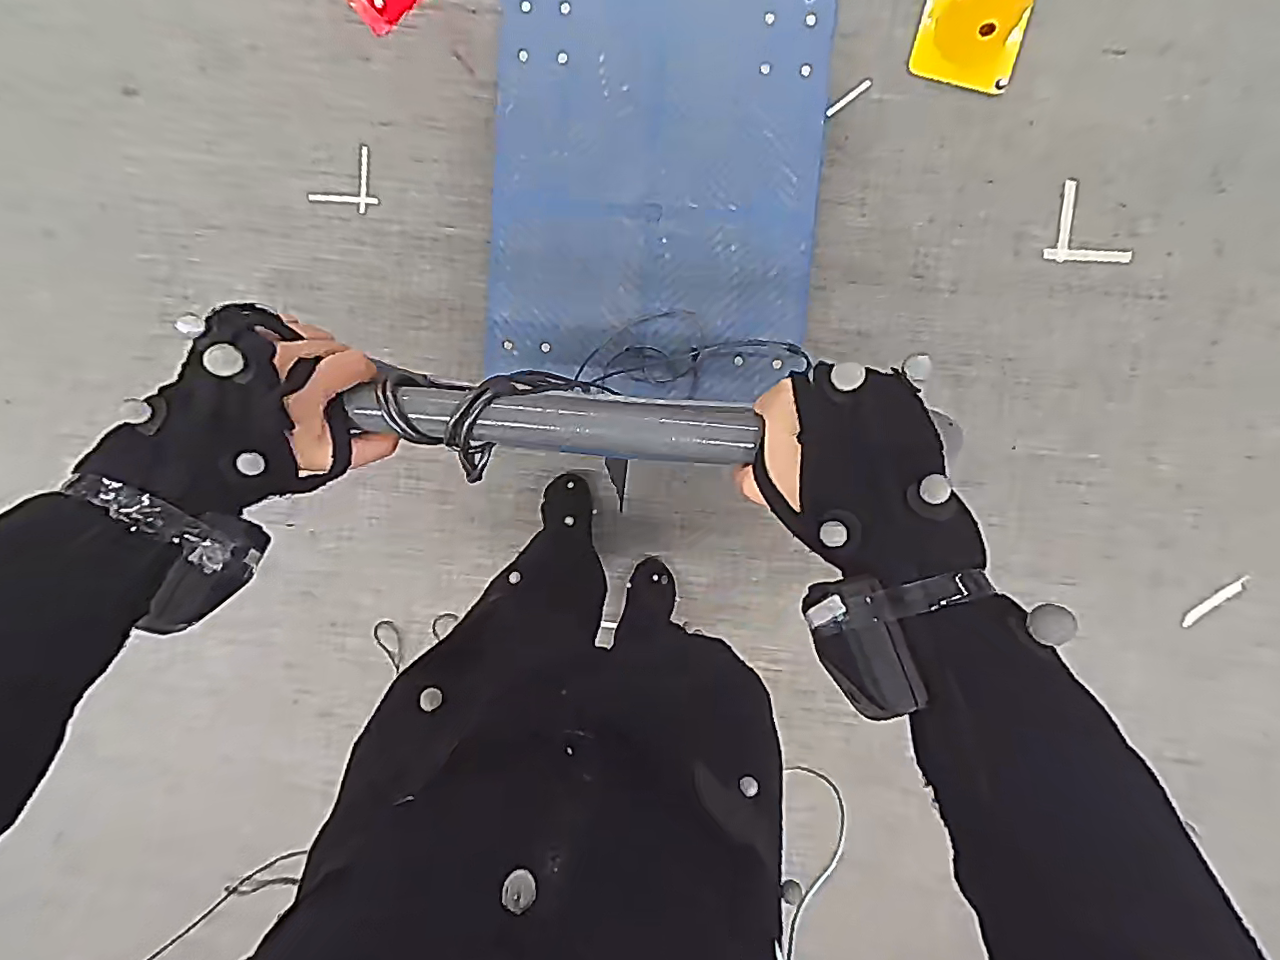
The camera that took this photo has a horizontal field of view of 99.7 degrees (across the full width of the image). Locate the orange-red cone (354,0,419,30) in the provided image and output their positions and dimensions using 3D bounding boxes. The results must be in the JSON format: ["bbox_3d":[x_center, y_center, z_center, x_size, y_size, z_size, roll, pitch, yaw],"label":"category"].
[{"bbox_3d":[-0.522,-1.036,0.930,0.199,0.360,0.198,-38,93,4],"label":"orange-red cone"}]
